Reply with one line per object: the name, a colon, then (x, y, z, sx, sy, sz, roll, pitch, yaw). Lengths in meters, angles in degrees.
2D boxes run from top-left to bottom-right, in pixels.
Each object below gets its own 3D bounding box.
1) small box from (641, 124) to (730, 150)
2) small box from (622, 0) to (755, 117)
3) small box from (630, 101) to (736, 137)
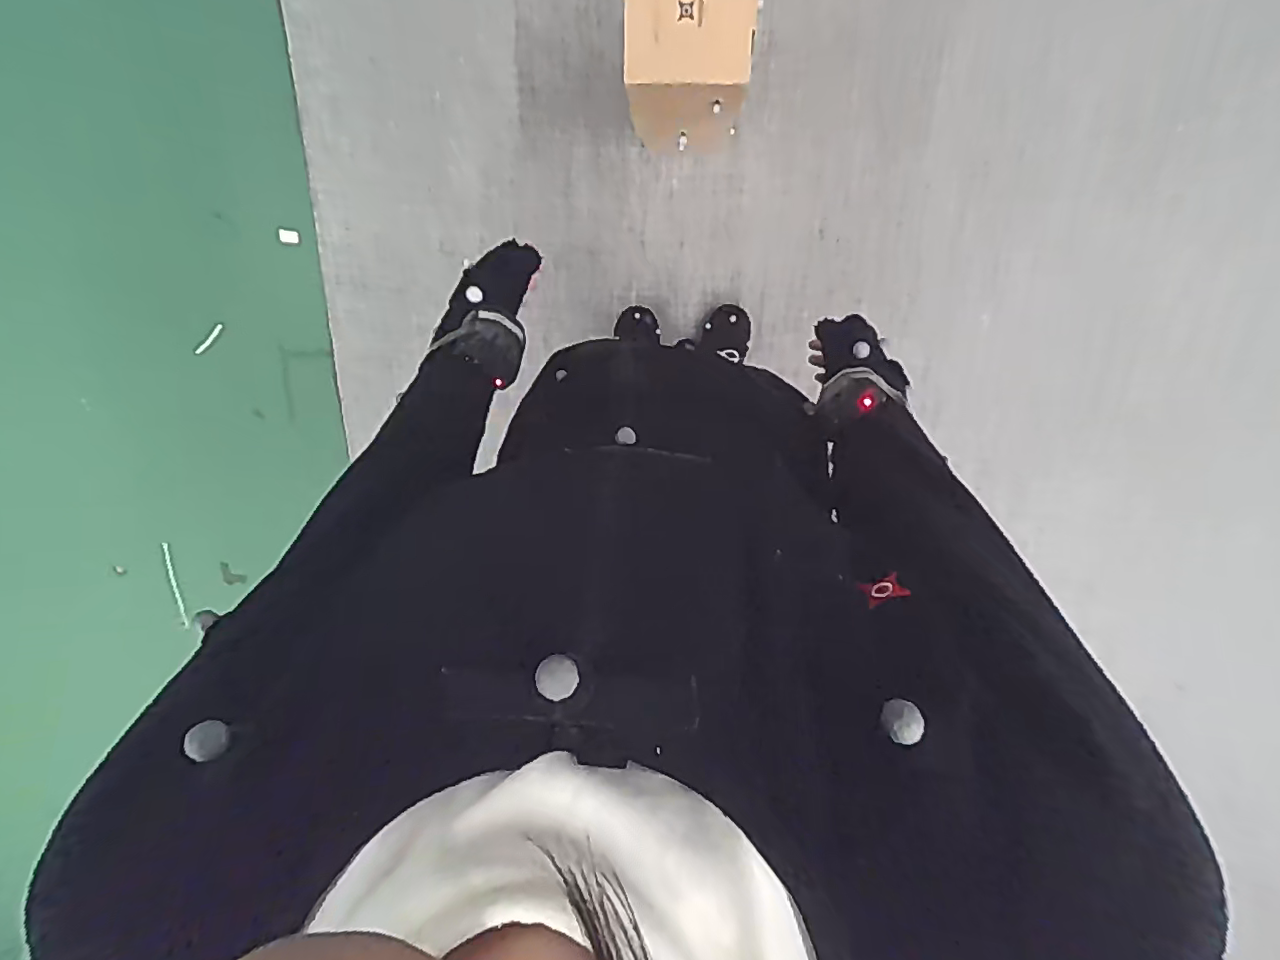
small box: (0.094, -0.776, 1.084, 0.179, 0.176, 0.168, 4, 110, 6)
small box: (0.071, -0.647, 0.786, 0.179, 0.176, 0.168, 3, 110, 6)
small box: (0.078, -0.709, 0.940, 0.179, 0.176, 0.168, 2, 112, 6)
